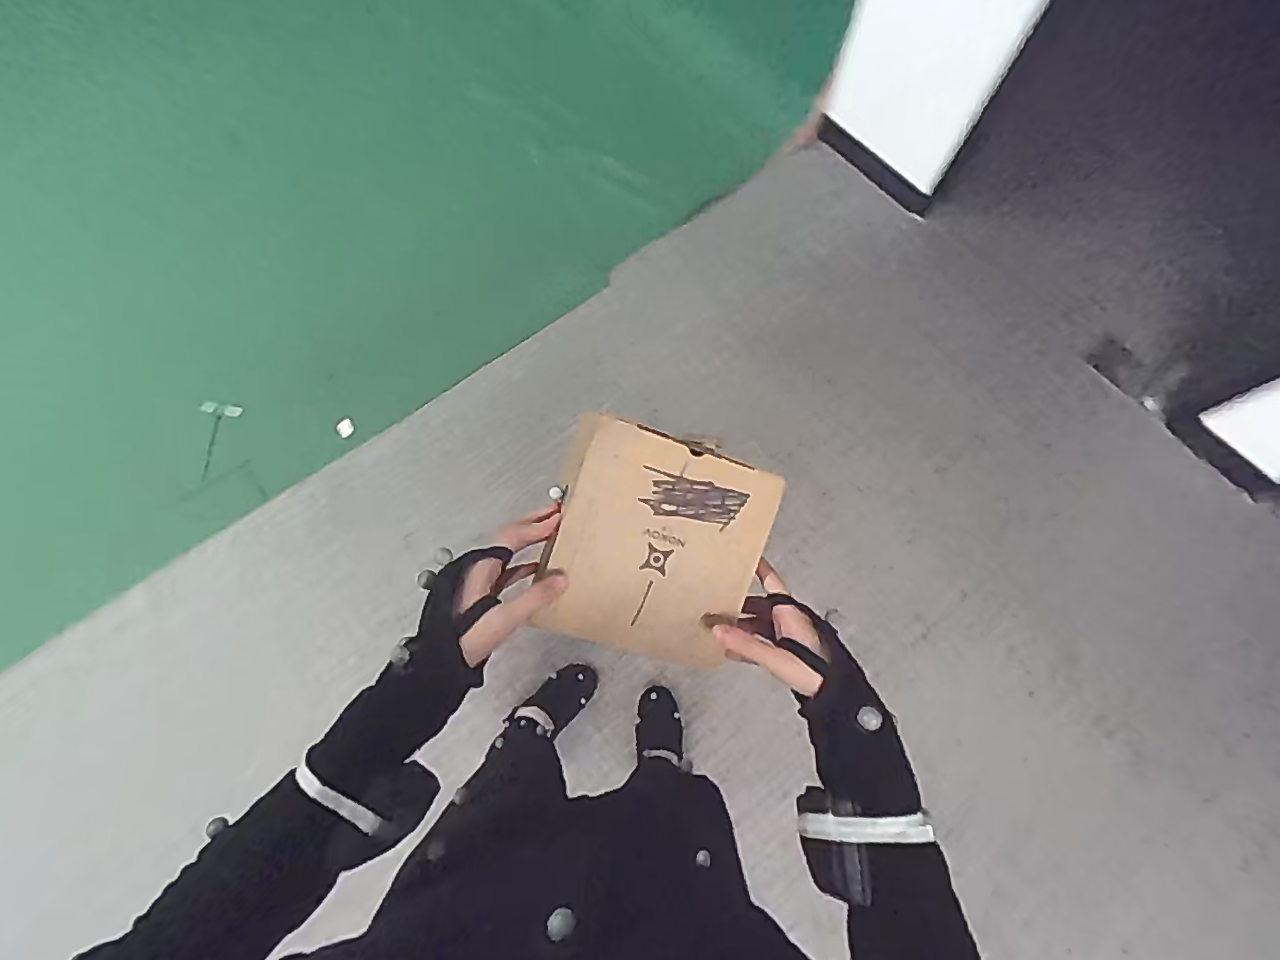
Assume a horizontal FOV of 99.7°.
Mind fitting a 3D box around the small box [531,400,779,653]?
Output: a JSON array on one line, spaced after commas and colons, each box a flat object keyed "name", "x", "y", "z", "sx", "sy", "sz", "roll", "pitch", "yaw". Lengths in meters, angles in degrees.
[{"name": "small box", "x": -0.002, "y": 0.032, "z": 0.512, "sx": 0.168, "sy": 0.176, "sz": 0.179, "roll": 17, "pitch": 94, "yaw": -15}]
